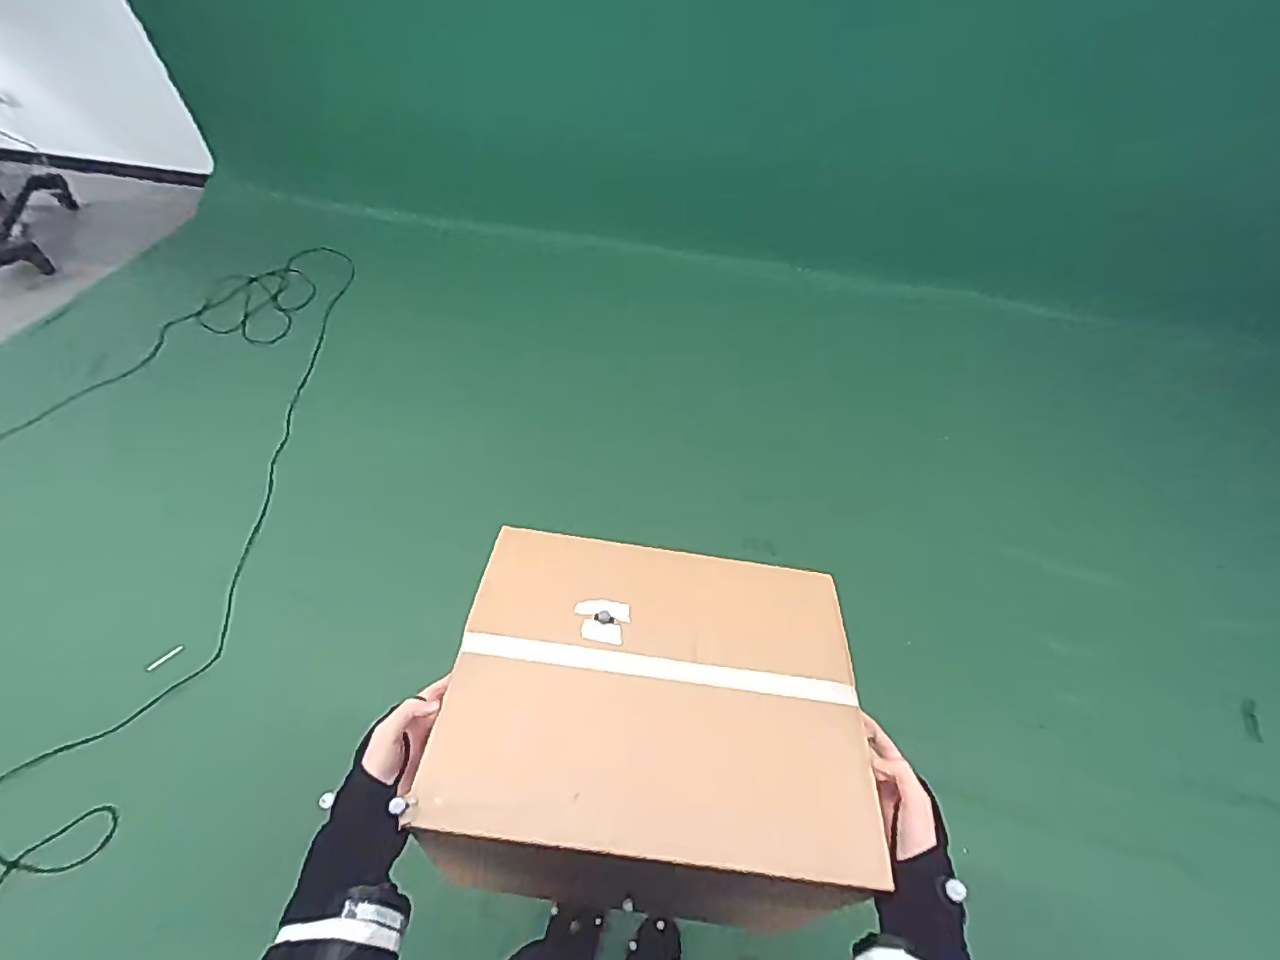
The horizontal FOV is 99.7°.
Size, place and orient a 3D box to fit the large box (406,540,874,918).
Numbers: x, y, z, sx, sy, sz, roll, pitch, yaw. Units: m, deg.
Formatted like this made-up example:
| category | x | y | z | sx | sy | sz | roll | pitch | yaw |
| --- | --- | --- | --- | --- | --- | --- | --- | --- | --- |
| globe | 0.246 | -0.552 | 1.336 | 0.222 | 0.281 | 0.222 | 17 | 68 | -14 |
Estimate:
| category | x | y | z | sx | sy | sz | roll | pitch | yaw |
| --- | --- | --- | --- | --- | --- | --- | --- | --- | --- |
| large box | 0.000 | 0.308 | 0.659 | 0.408 | 0.320 | 0.320 | 8 | 45 | -1 |
